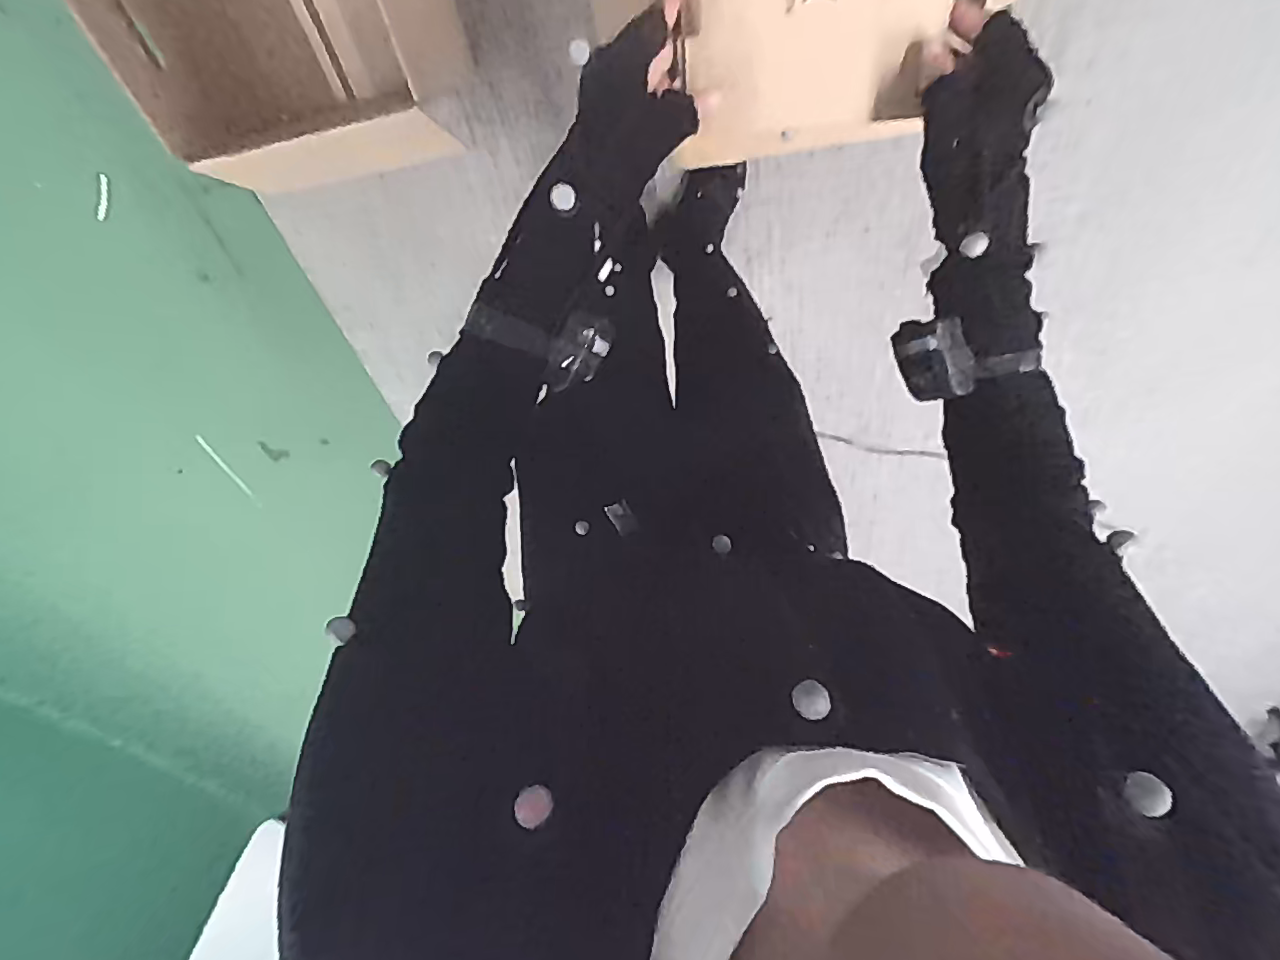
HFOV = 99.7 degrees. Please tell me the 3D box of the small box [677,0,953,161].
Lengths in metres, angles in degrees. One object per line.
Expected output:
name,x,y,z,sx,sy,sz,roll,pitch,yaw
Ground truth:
small box,0.119,-0.359,0.409,0.179,0.176,0.168,-2,133,8
